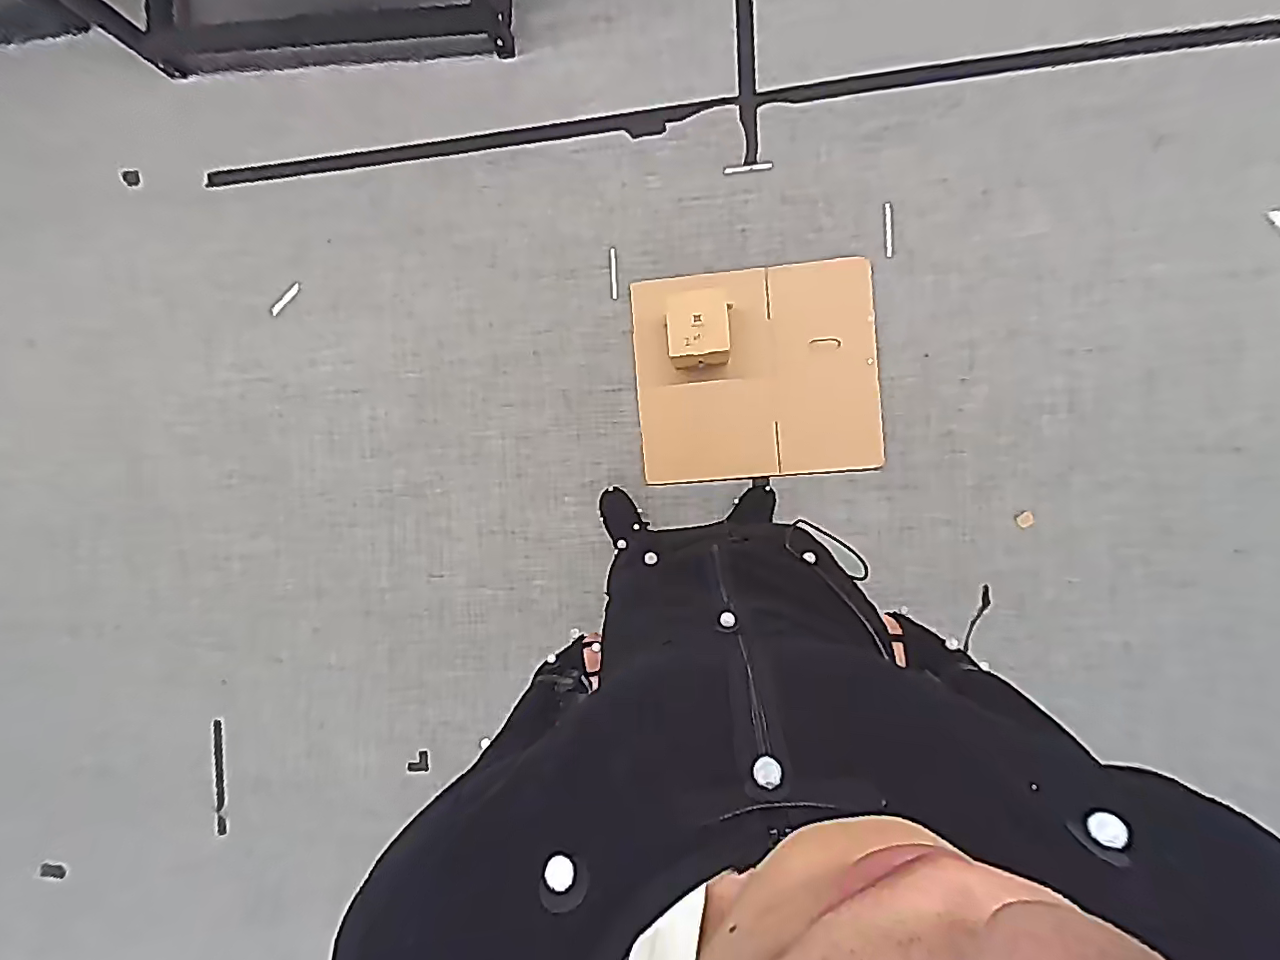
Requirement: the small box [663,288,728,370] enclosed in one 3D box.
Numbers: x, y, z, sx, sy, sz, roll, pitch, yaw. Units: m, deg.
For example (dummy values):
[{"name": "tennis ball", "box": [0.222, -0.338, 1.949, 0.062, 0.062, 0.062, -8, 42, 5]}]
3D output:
[{"name": "small box", "box": [0.157, -0.418, 1.520, 0.168, 0.176, 0.179, -5, 91, 8]}]
